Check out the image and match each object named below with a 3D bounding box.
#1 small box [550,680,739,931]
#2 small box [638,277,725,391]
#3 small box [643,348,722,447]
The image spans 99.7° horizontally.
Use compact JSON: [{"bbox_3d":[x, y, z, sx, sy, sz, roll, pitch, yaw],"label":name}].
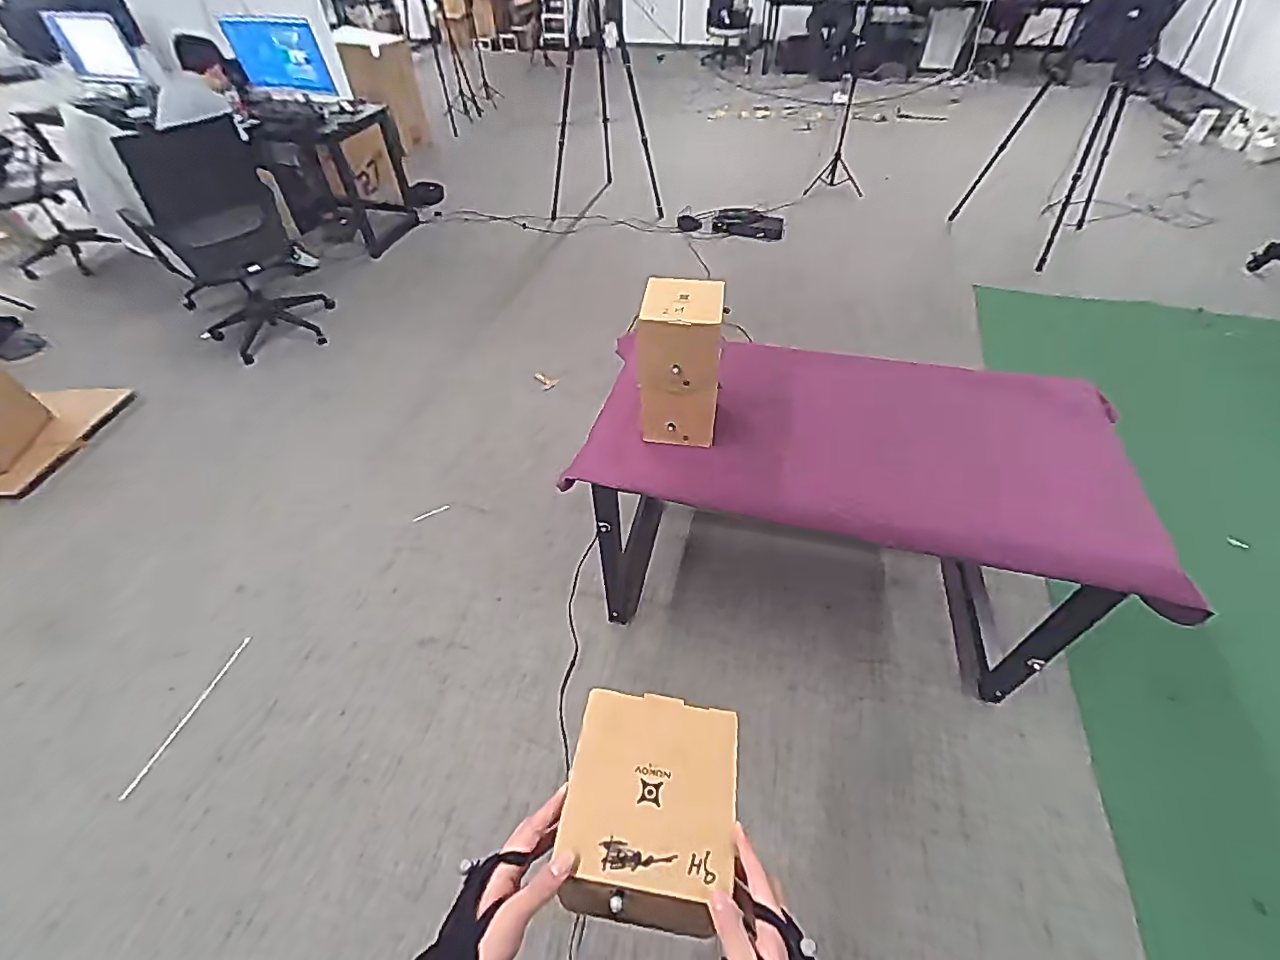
[{"bbox_3d":[0.010,0.349,0.586,0.168,0.176,0.179,7,43,6],"label":"small box"},{"bbox_3d":[0.089,-0.316,1.171,0.168,0.176,0.179,5,48,7],"label":"small box"},{"bbox_3d":[0.099,-0.204,1.291,0.168,0.176,0.179,6,48,7],"label":"small box"}]
